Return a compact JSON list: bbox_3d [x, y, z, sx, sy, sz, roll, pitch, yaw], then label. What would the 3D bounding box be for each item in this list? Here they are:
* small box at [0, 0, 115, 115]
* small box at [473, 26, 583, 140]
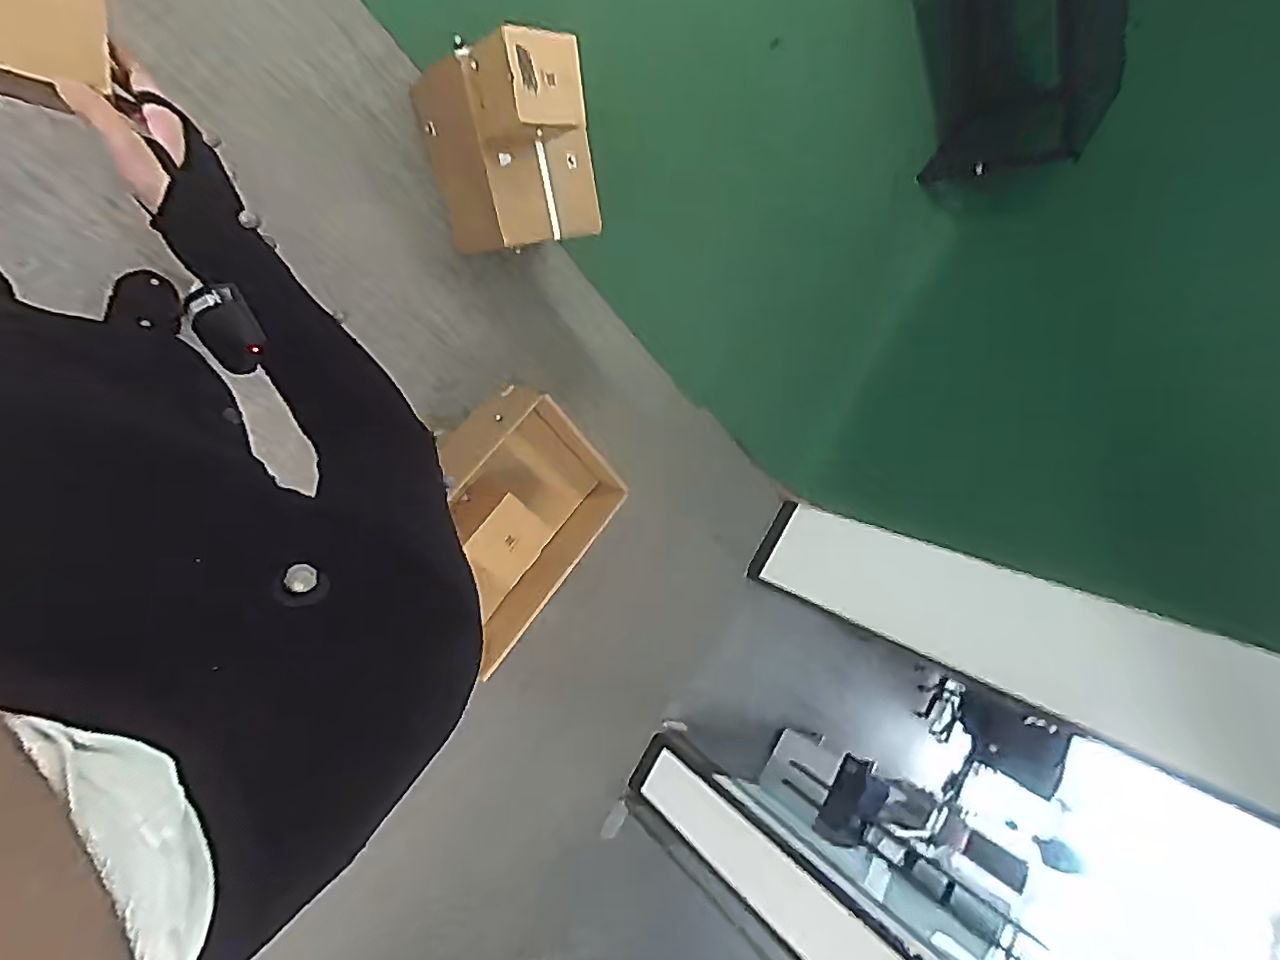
[{"bbox_3d":[-0.513,-0.405,0.401,0.168,0.176,0.179,-5,114,-43],"label":"small box"},{"bbox_3d":[-0.252,-0.864,1.194,0.179,0.176,0.168,-24,120,-34],"label":"small box"}]
